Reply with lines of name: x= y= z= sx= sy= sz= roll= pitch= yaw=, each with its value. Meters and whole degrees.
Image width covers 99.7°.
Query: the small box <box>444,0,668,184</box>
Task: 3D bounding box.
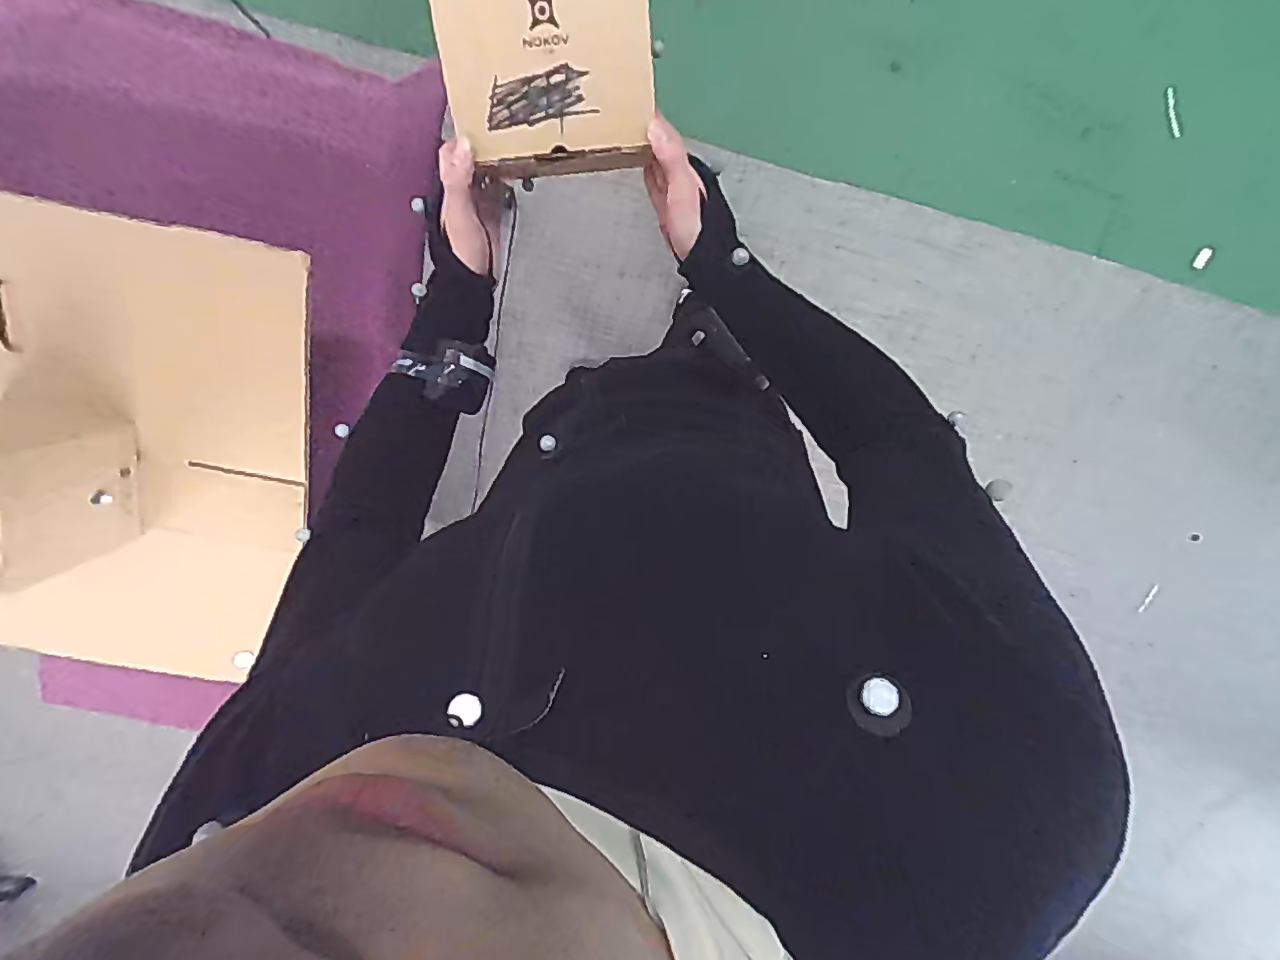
small box: x=-0.064 y=-0.372 z=0.485 sx=0.168 sy=0.176 sz=0.179 roll=-5 pitch=114 yaw=0
